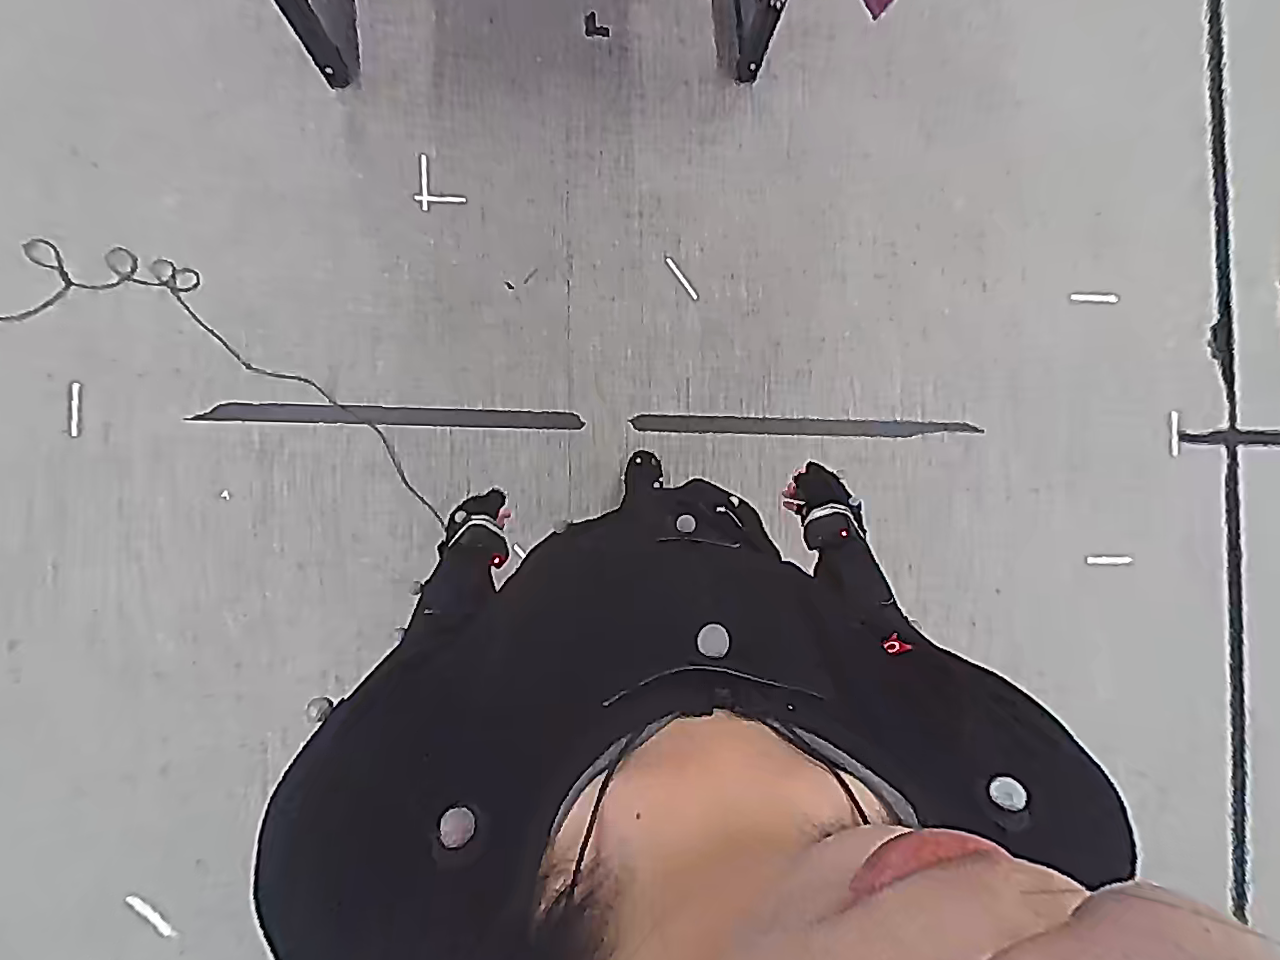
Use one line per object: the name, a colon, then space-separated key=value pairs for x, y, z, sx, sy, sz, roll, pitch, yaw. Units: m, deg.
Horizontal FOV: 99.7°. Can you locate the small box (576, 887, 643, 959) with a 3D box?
small box: x=-0.080 y=1.205 z=1.401 sx=0.168 sy=0.176 sz=0.179 roll=-2 pitch=88 yaw=-5
